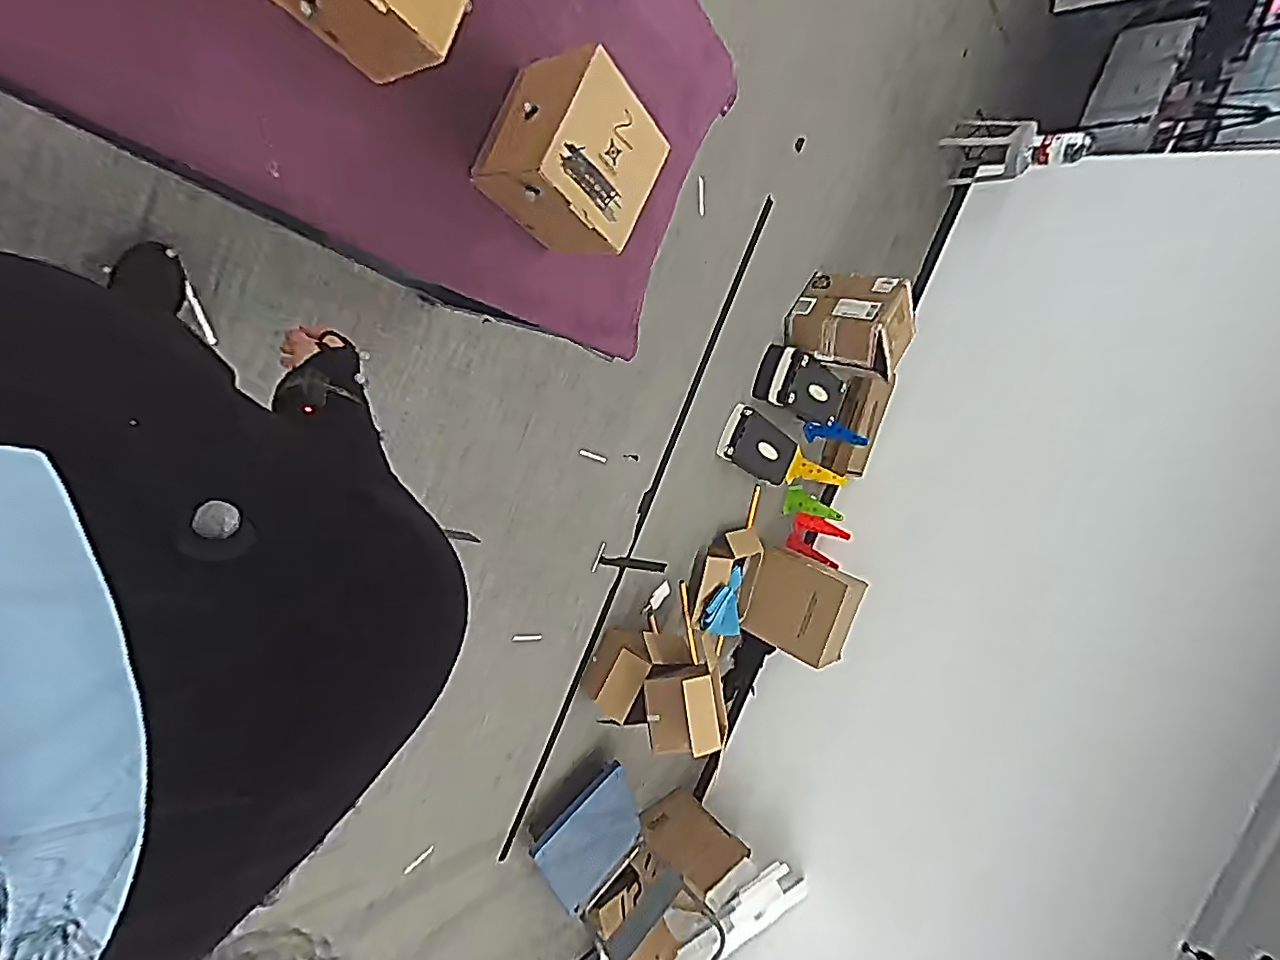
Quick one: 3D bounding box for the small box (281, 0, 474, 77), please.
[{"bbox_3d":[-0.263,-0.540,0.523,0.168,0.176,0.179,20,94,-51],"label":"small box"}]
